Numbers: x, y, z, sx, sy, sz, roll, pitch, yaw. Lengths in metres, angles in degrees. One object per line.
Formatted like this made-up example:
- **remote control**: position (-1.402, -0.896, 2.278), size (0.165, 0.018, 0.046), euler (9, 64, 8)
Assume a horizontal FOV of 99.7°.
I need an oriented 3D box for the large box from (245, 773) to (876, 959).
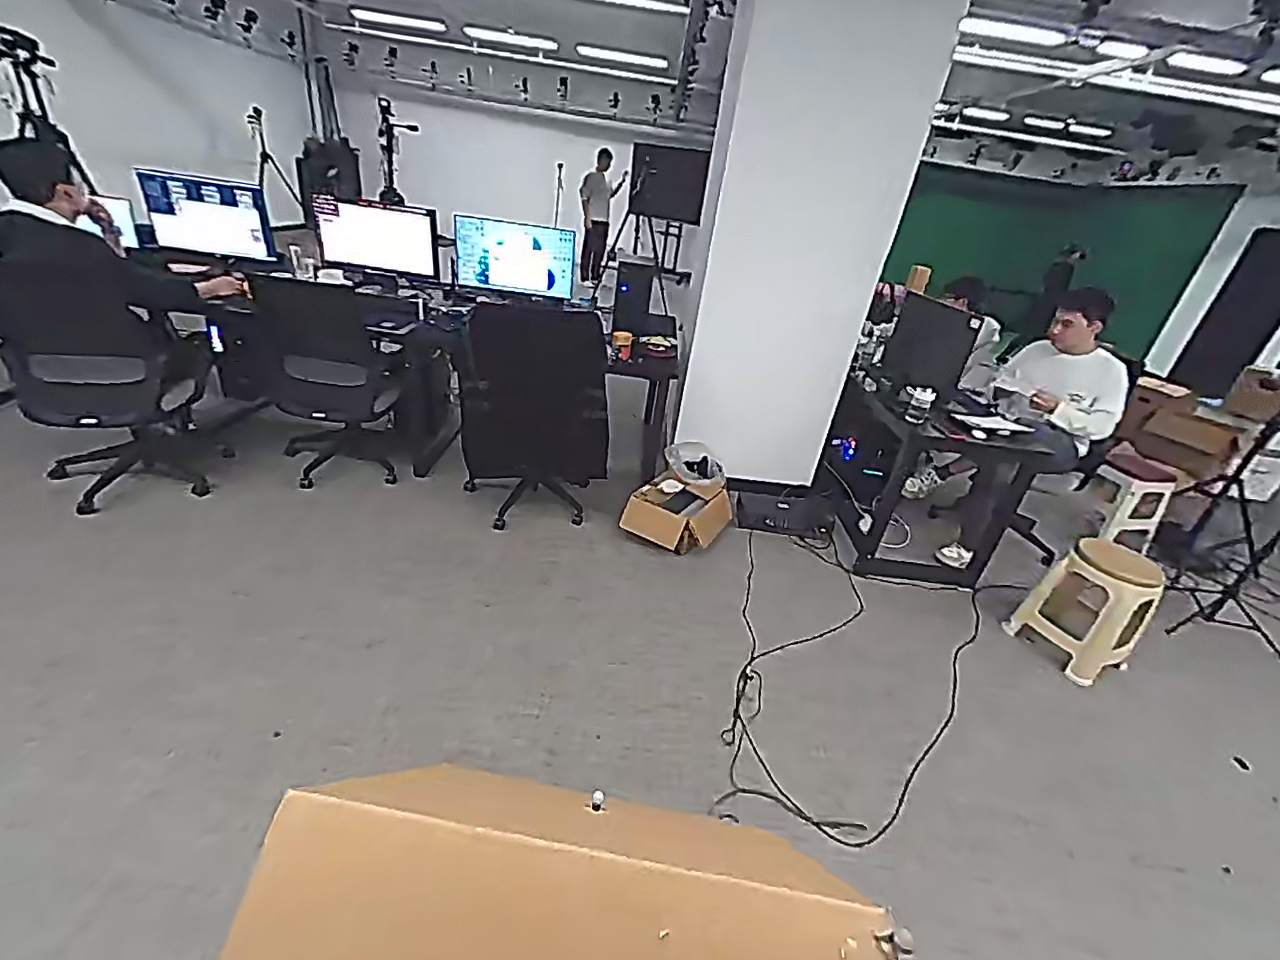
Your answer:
- **large box**: position (-0.066, 0.447, 0.440), size (0.408, 0.320, 0.320), euler (8, 67, 3)
